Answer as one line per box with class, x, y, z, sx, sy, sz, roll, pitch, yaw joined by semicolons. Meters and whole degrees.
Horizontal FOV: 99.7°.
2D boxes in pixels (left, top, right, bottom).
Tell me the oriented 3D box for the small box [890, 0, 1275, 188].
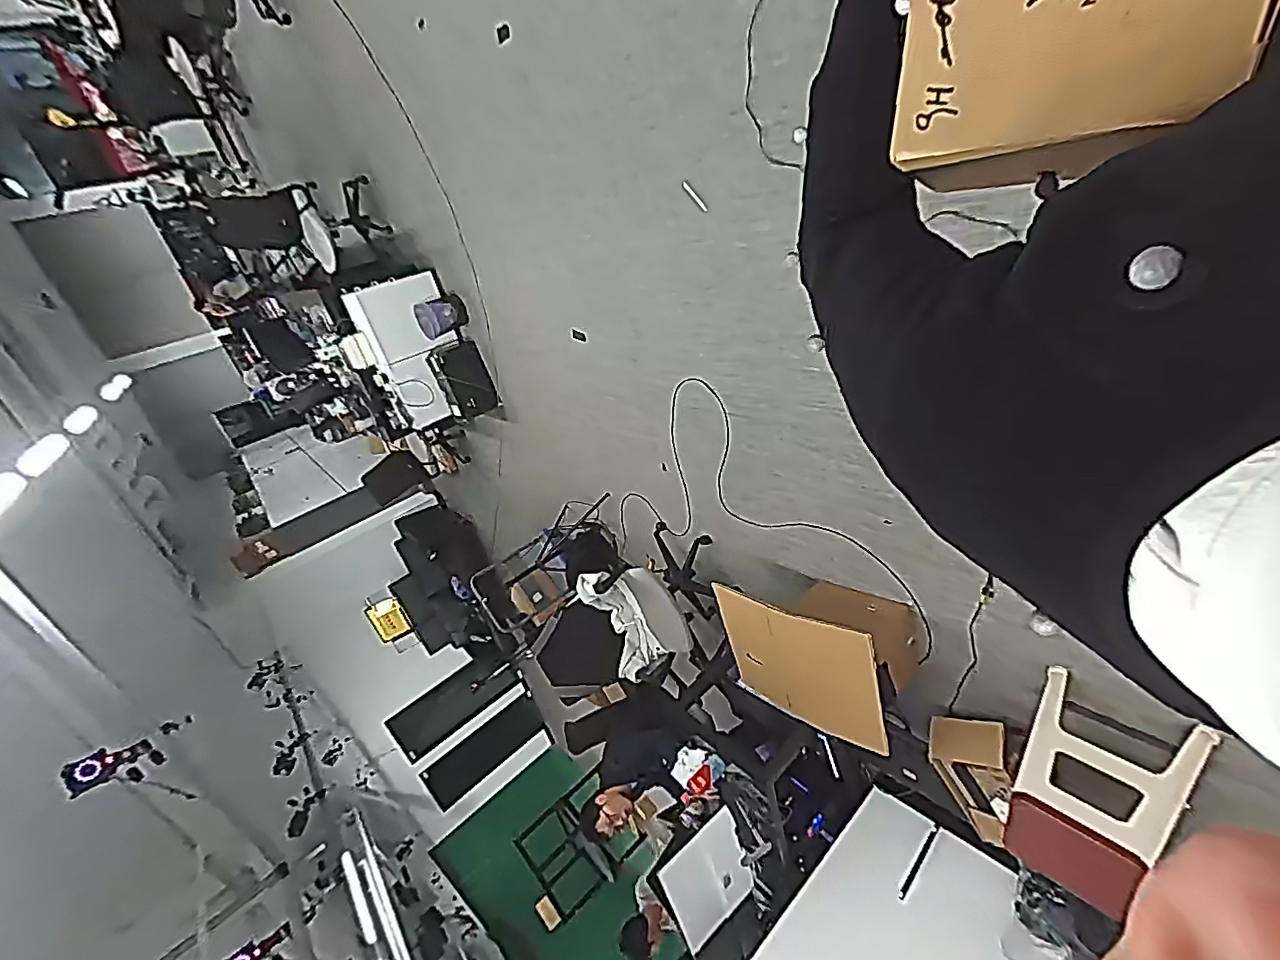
small box;0.294;-0.308;0.368;0.179;0.176;0.168;14;114;35
